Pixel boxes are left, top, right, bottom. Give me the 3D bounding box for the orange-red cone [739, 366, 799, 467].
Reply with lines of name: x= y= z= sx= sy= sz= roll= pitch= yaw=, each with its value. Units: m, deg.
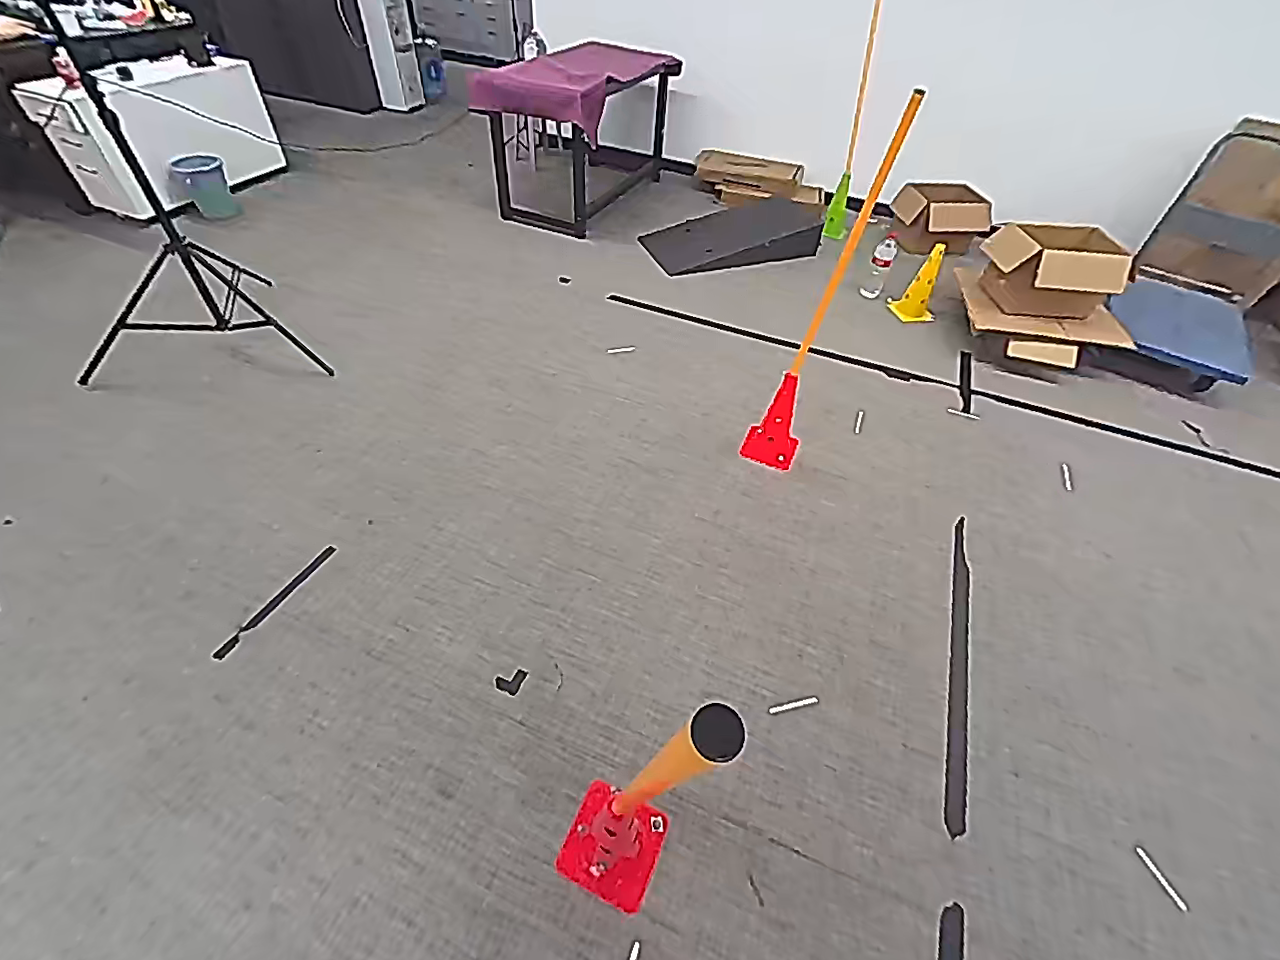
orange-red cone: x=0.508 y=-0.256 z=1.963 sx=0.198 sy=0.360 sz=0.199 roll=22 pitch=49 yaw=15
